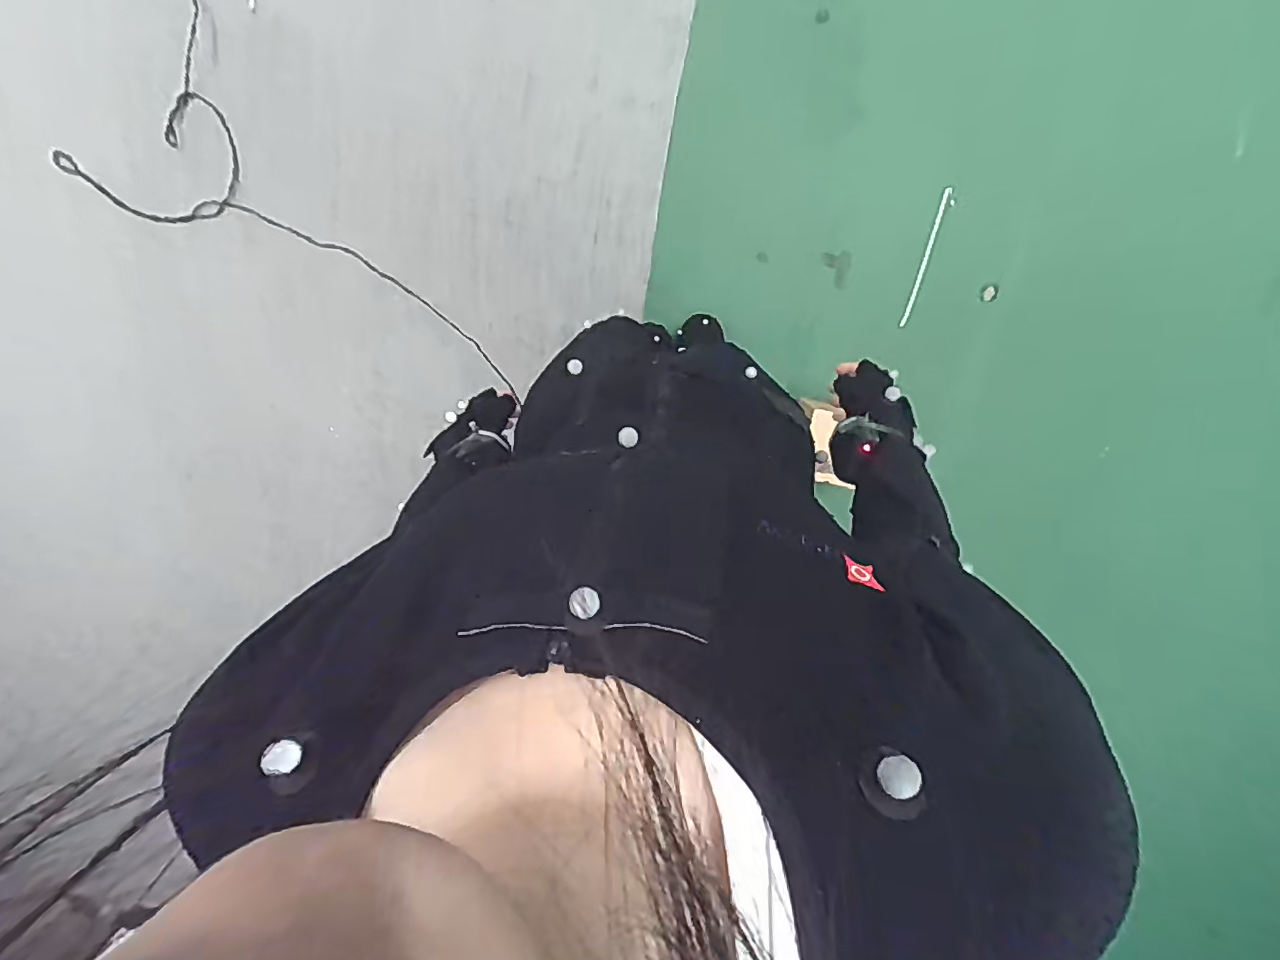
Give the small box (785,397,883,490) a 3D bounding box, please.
[{"bbox_3d":[0.478,-0.098,1.365,0.168,0.176,0.179,12,108,-1],"label":"small box"}]
